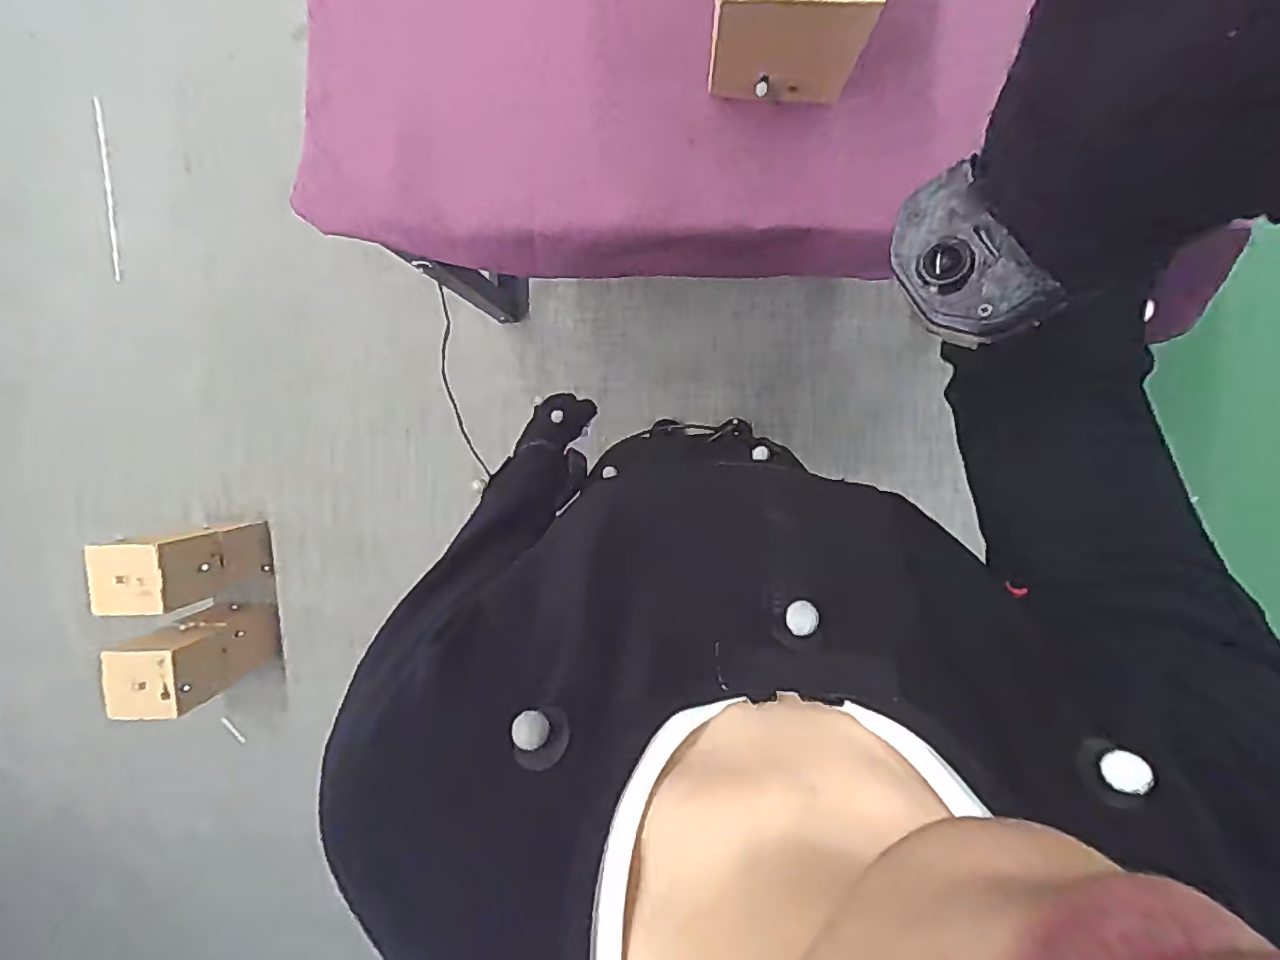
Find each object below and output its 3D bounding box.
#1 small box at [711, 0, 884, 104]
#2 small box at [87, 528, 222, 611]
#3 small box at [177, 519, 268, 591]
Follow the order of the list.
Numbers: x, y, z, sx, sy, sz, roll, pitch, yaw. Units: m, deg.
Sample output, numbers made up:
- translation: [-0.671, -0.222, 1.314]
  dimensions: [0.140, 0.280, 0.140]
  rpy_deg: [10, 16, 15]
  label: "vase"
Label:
- translation: [0.173, -0.571, 0.612]
  dimensions: [0.168, 0.176, 0.179]
  rpy_deg: [5, 95, 3]
  label: "small box"
- translation: [-1.160, 0.211, 1.303]
  dimensions: [0.179, 0.176, 0.168]
  rpy_deg: [-1, 95, 3]
  label: "small box"
- translation: [-1.145, 0.199, 1.466]
  dimensions: [0.179, 0.176, 0.168]
  rpy_deg: [-2, 94, 4]
  label: "small box"
